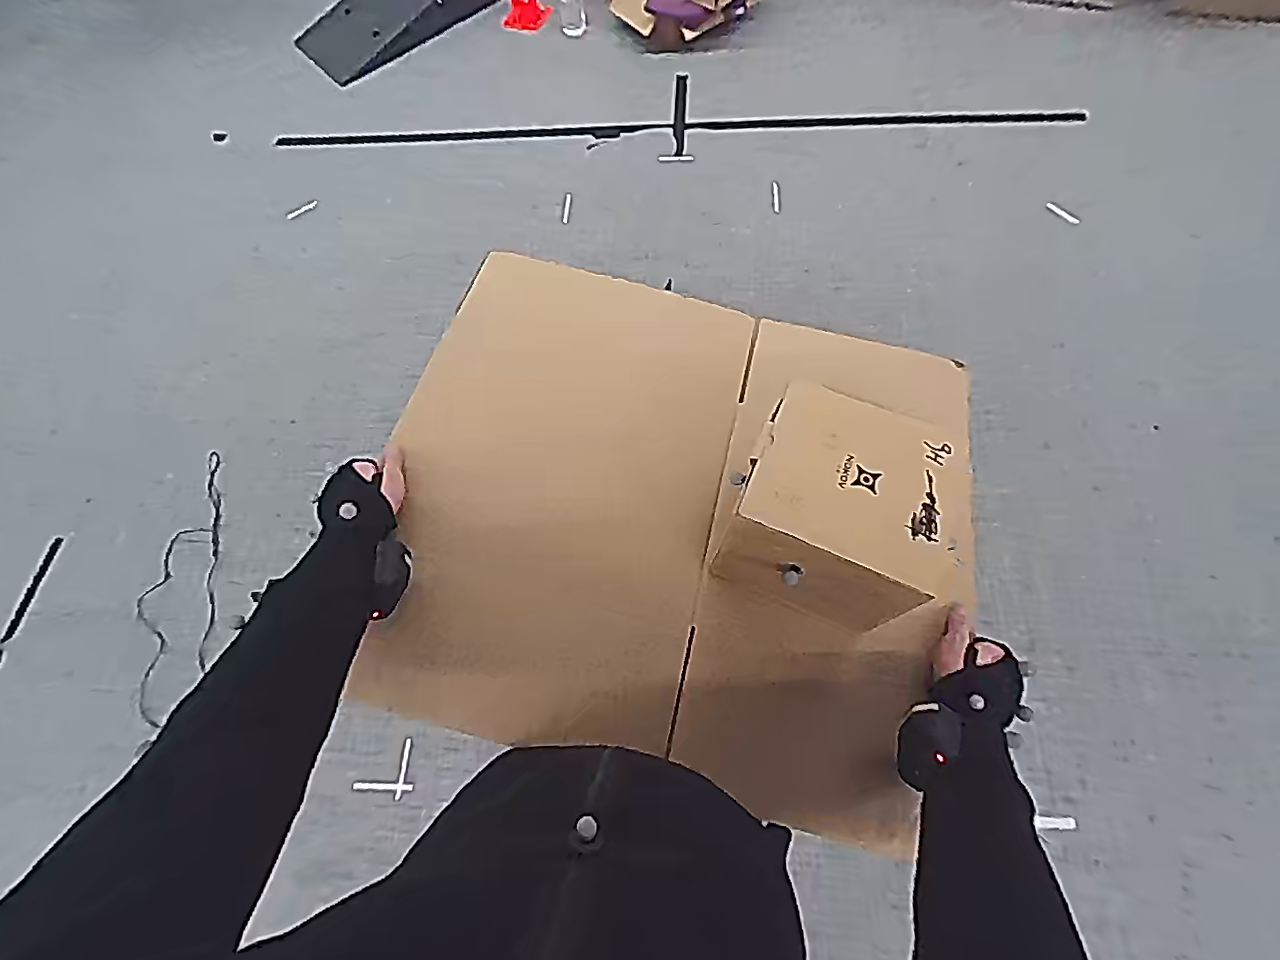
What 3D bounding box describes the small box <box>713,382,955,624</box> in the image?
[{"bbox_3d":[0.187,0.033,0.564,0.179,0.176,0.168,21,66,11],"label":"small box"}]
